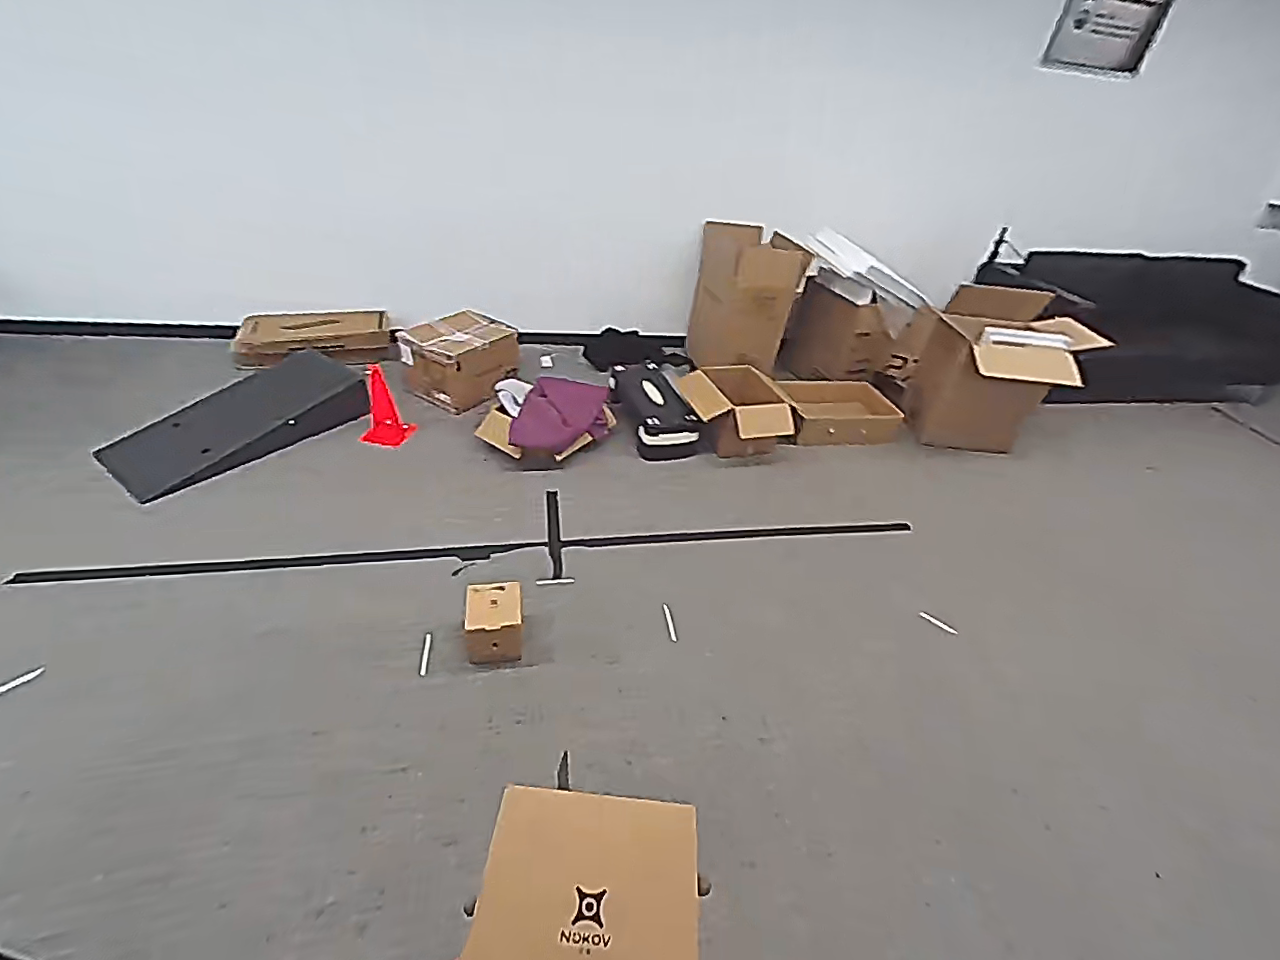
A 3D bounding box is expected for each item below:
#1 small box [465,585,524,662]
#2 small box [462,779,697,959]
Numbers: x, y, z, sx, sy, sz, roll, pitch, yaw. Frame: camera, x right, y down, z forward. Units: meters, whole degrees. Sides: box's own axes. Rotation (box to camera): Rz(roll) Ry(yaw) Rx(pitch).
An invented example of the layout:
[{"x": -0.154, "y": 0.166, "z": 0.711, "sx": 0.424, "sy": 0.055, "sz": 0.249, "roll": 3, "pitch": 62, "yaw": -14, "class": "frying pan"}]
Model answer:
[{"x": -0.457, "y": 0.458, "z": 1.716, "sx": 0.168, "sy": 0.176, "sz": 0.179, "roll": -3, "pitch": 39, "yaw": -12, "class": "small box"}, {"x": -0.047, "y": 0.383, "z": 0.447, "sx": 0.168, "sy": 0.176, "sz": 0.179, "roll": 6, "pitch": 37, "yaw": 0, "class": "small box"}]
